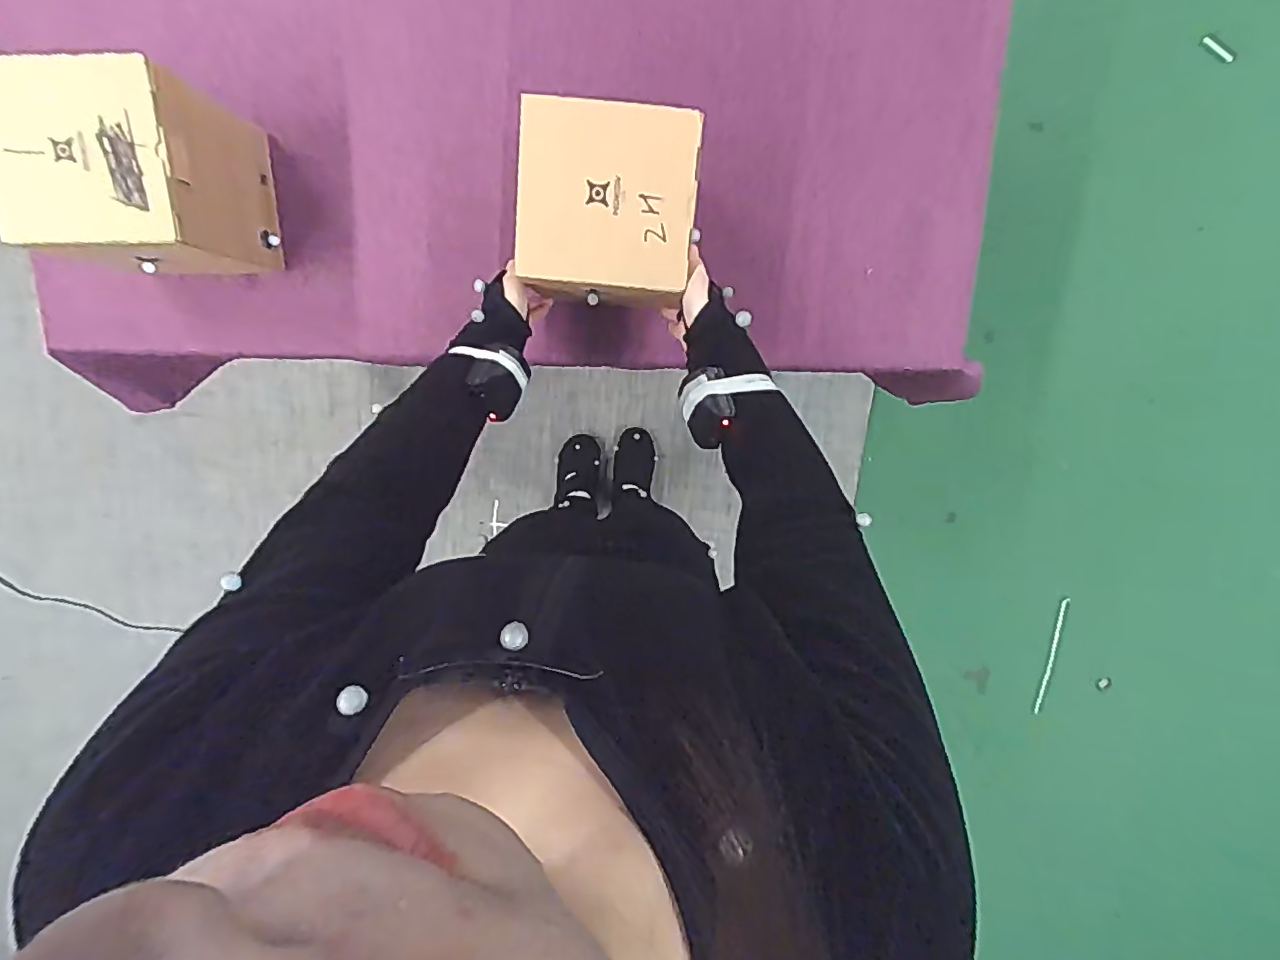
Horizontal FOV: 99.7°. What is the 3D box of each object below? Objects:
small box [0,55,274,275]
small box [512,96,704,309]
[{"bbox_3d":[-0.538,-0.327,0.593,0.179,0.176,0.168,0,101,1],"label":"small box"},{"bbox_3d":[-0.033,-0.289,0.602,0.179,0.176,0.168,6,102,-1],"label":"small box"}]
